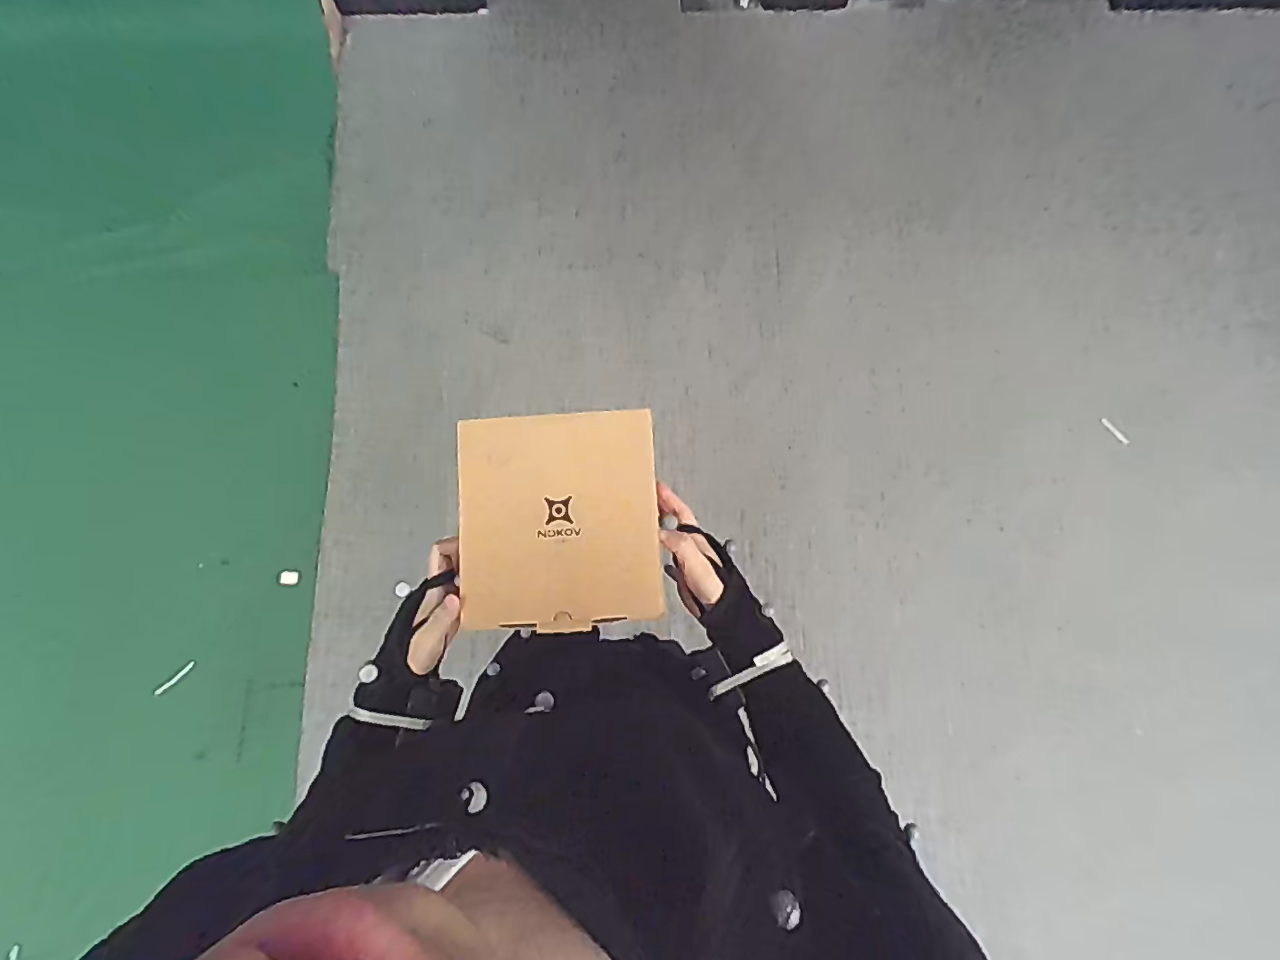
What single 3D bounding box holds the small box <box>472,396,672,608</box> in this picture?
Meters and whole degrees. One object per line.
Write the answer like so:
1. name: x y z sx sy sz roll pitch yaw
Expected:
1. small box: -0.061 0.028 0.535 0.168 0.176 0.179 -4 82 -1
